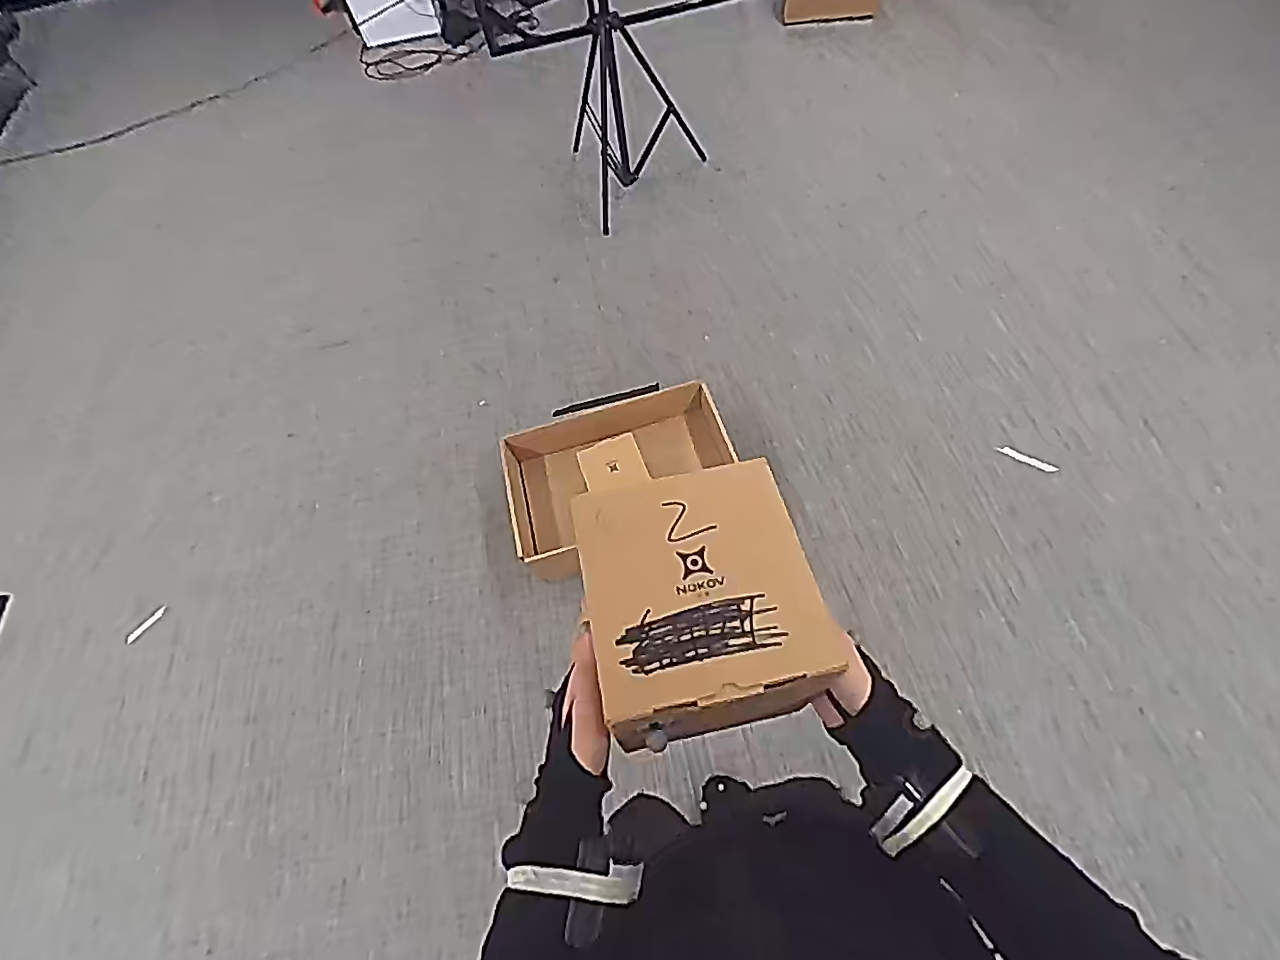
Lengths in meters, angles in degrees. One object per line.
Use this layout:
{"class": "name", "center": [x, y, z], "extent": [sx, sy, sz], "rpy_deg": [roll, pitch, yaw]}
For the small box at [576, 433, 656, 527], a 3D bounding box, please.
{"class": "small box", "center": [-0.065, 0.005, 1.510], "extent": [0.168, 0.176, 0.179], "rpy_deg": [-22, 63, -3]}
